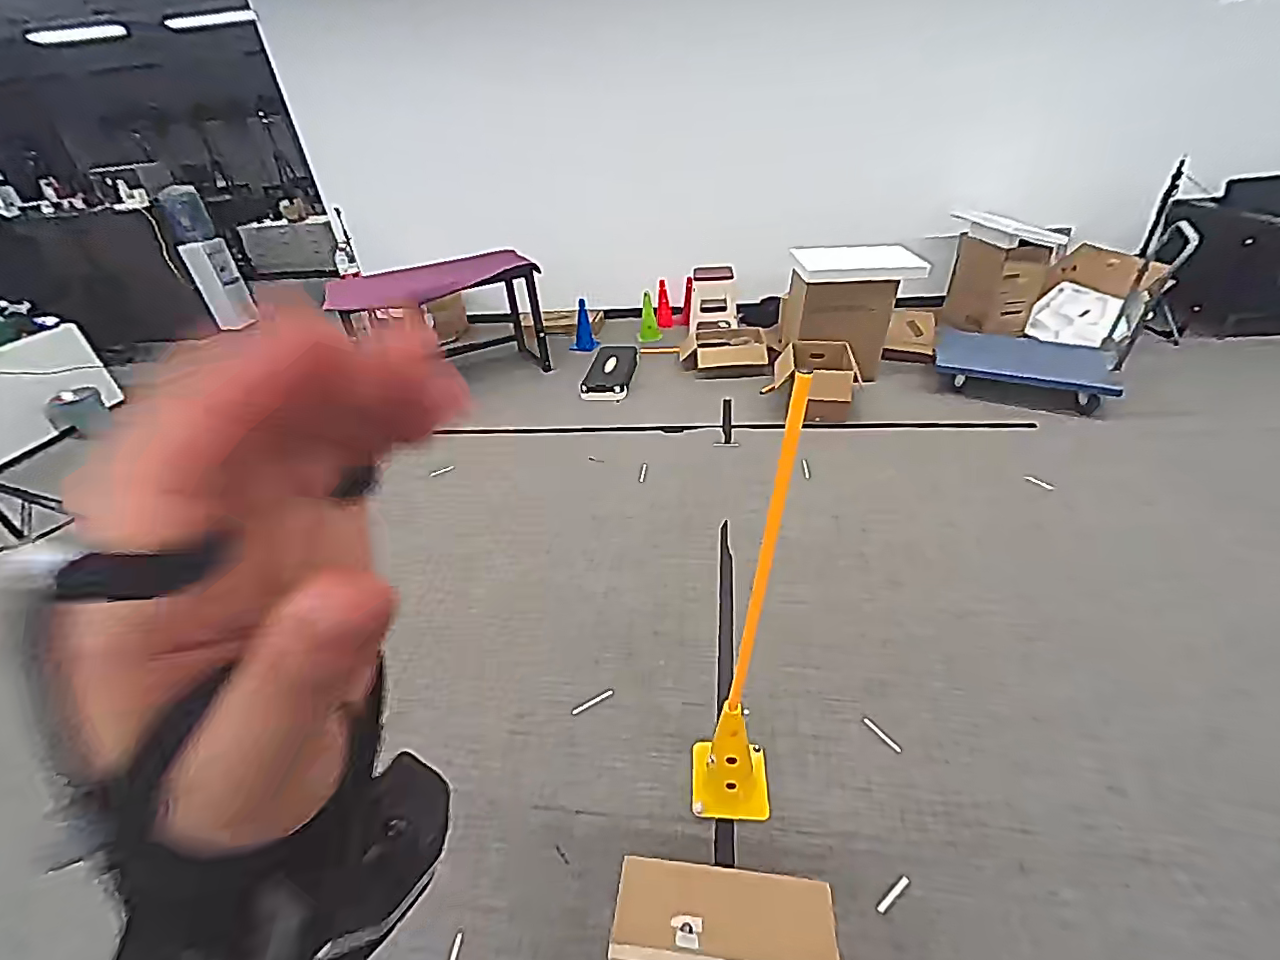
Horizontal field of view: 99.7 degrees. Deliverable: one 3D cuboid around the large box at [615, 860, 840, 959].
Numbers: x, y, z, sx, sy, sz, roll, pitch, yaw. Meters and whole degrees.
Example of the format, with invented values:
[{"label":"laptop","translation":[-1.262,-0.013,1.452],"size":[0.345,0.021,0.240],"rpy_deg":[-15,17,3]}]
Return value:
[{"label":"large box","translation":[0.166,0.979,1.028],"size":[0.408,0.320,0.320],"rpy_deg":[0,33,9]}]
